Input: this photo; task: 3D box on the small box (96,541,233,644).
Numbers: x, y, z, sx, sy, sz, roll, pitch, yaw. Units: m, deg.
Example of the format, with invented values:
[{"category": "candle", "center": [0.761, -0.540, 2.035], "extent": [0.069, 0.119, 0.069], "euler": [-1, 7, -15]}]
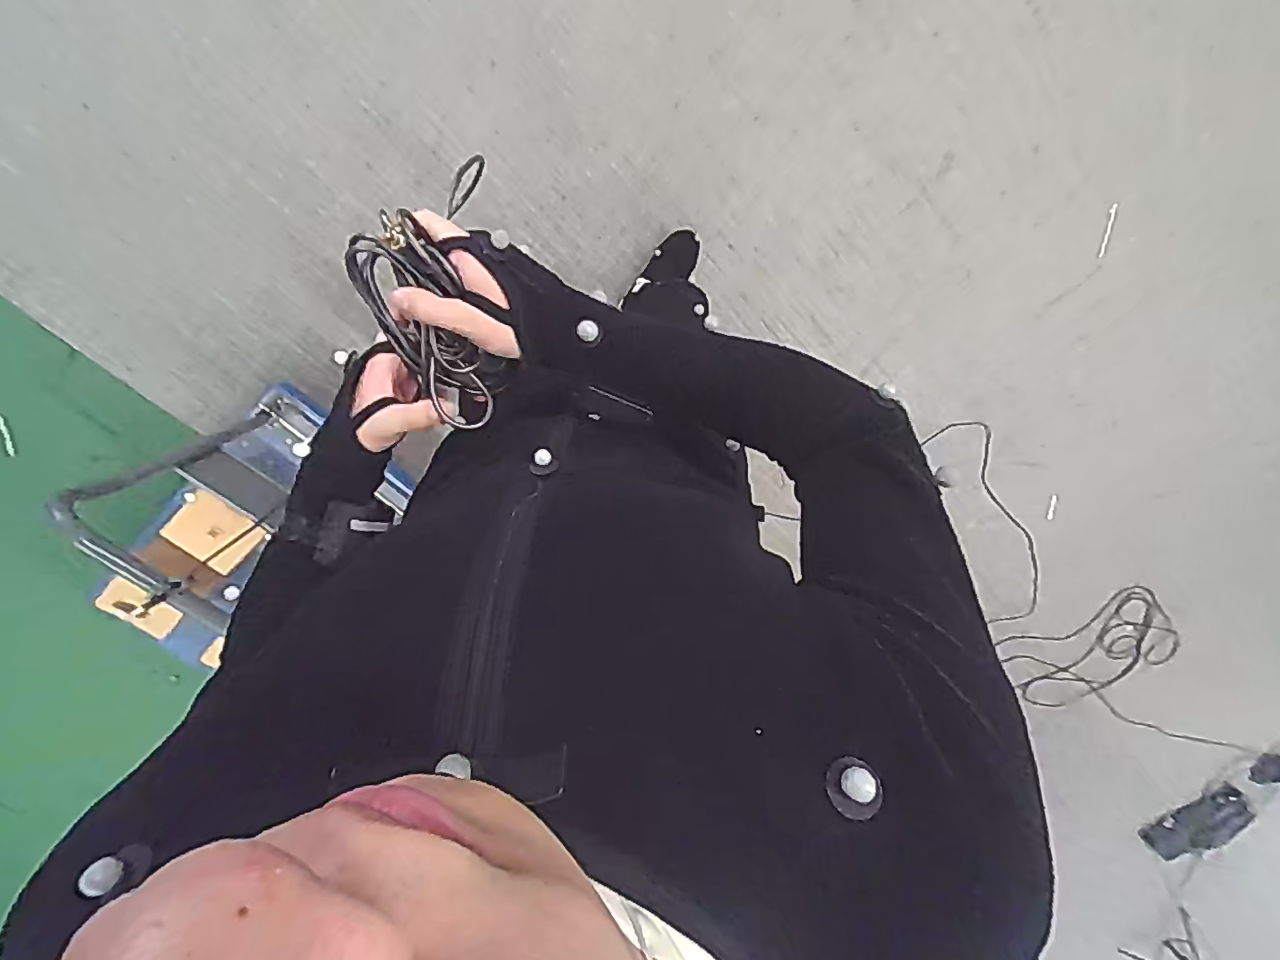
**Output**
[{"category": "small box", "center": [-1.195, 0.272, 1.376], "extent": [0.168, 0.176, 0.179], "euler": [41, 101, -20]}]

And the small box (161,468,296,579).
[{"category": "small box", "center": [-0.997, 0.101, 1.331], "extent": [0.179, 0.176, 0.168], "euler": [-42, 110, 10]}]
